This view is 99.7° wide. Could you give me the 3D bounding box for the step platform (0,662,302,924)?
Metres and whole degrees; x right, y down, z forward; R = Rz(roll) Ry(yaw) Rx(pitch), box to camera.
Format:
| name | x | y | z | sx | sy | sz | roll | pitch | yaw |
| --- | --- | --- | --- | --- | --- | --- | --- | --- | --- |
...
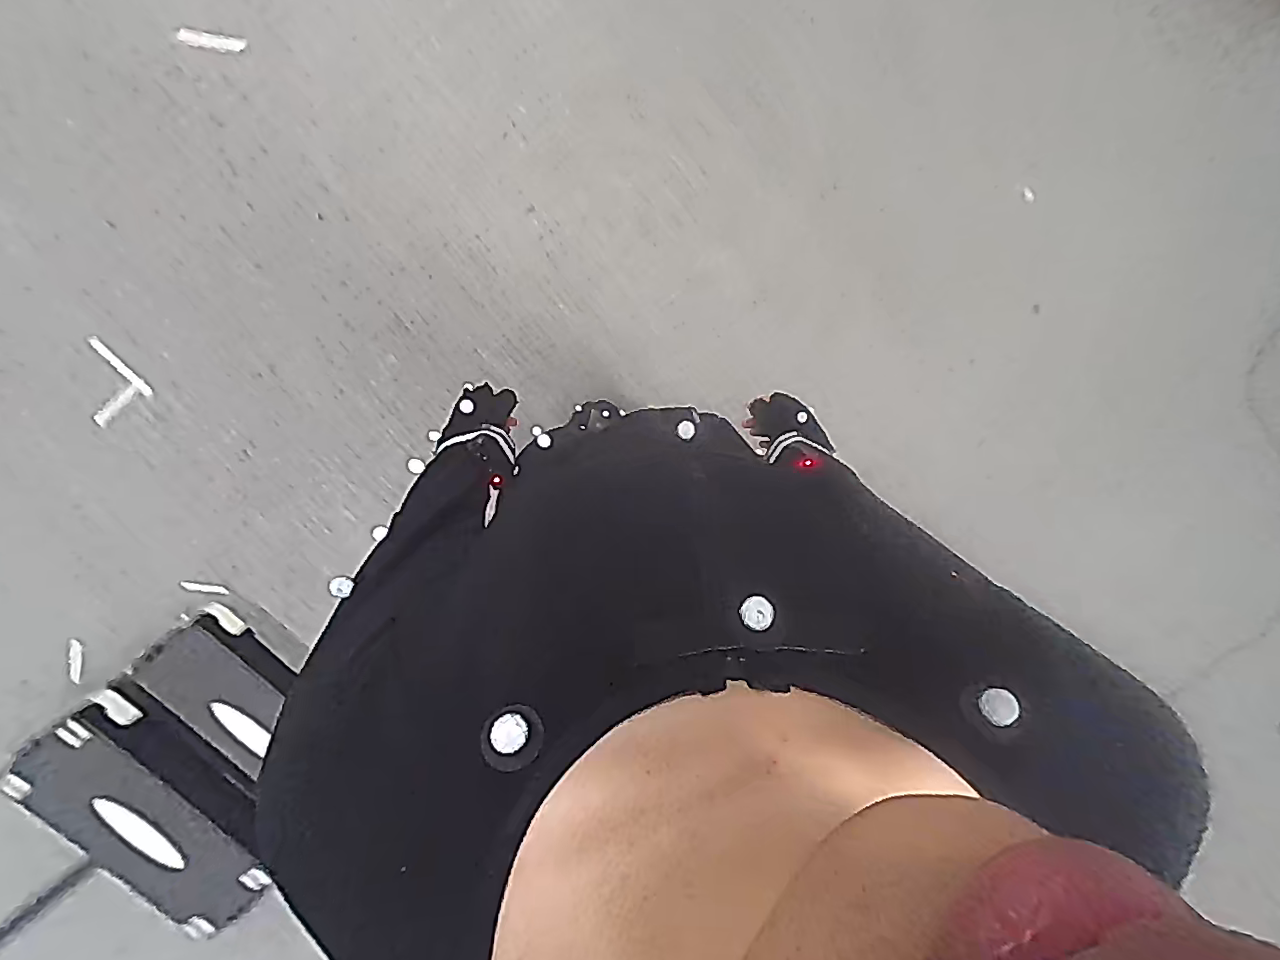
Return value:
| name | x | y | z | sx | sy | sz | roll | pitch | yaw |
| --- | --- | --- | --- | --- | --- | --- | --- | --- | --- |
| step platform | -1.262 | 0.820 | 1.416 | 0.286 | 0.204 | 0.684 | -41 | 100 | 2 |
